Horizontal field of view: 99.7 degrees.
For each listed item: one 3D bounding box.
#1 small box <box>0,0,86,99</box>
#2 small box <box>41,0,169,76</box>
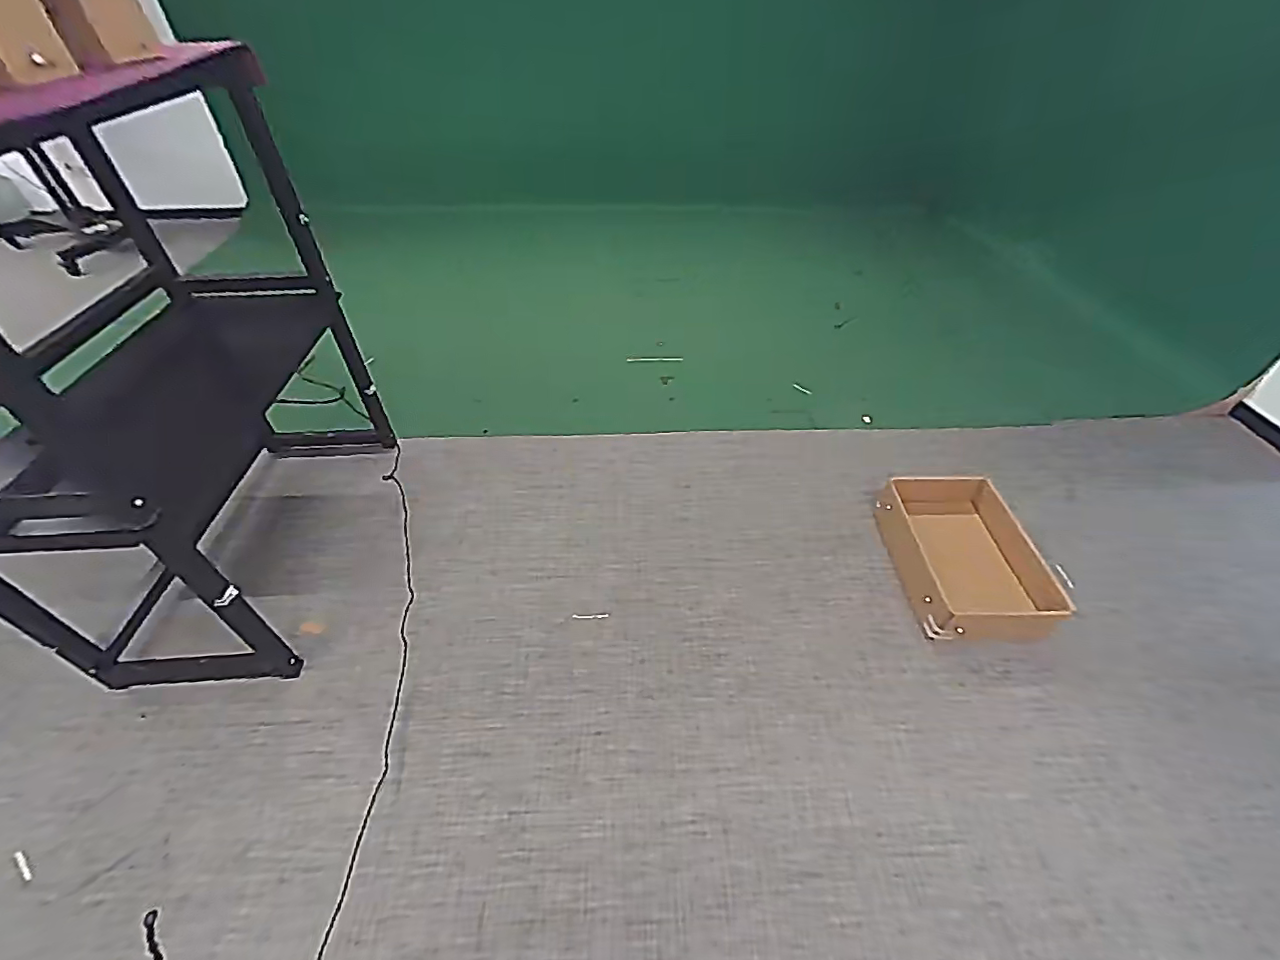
[{"bbox_3d":[-1.267,-0.851,1.048,0.179,0.176,0.168,-1,45,0],"label":"small box"},{"bbox_3d":[-1.276,-1.057,1.258,0.179,0.176,0.168,2,45,5],"label":"small box"}]
